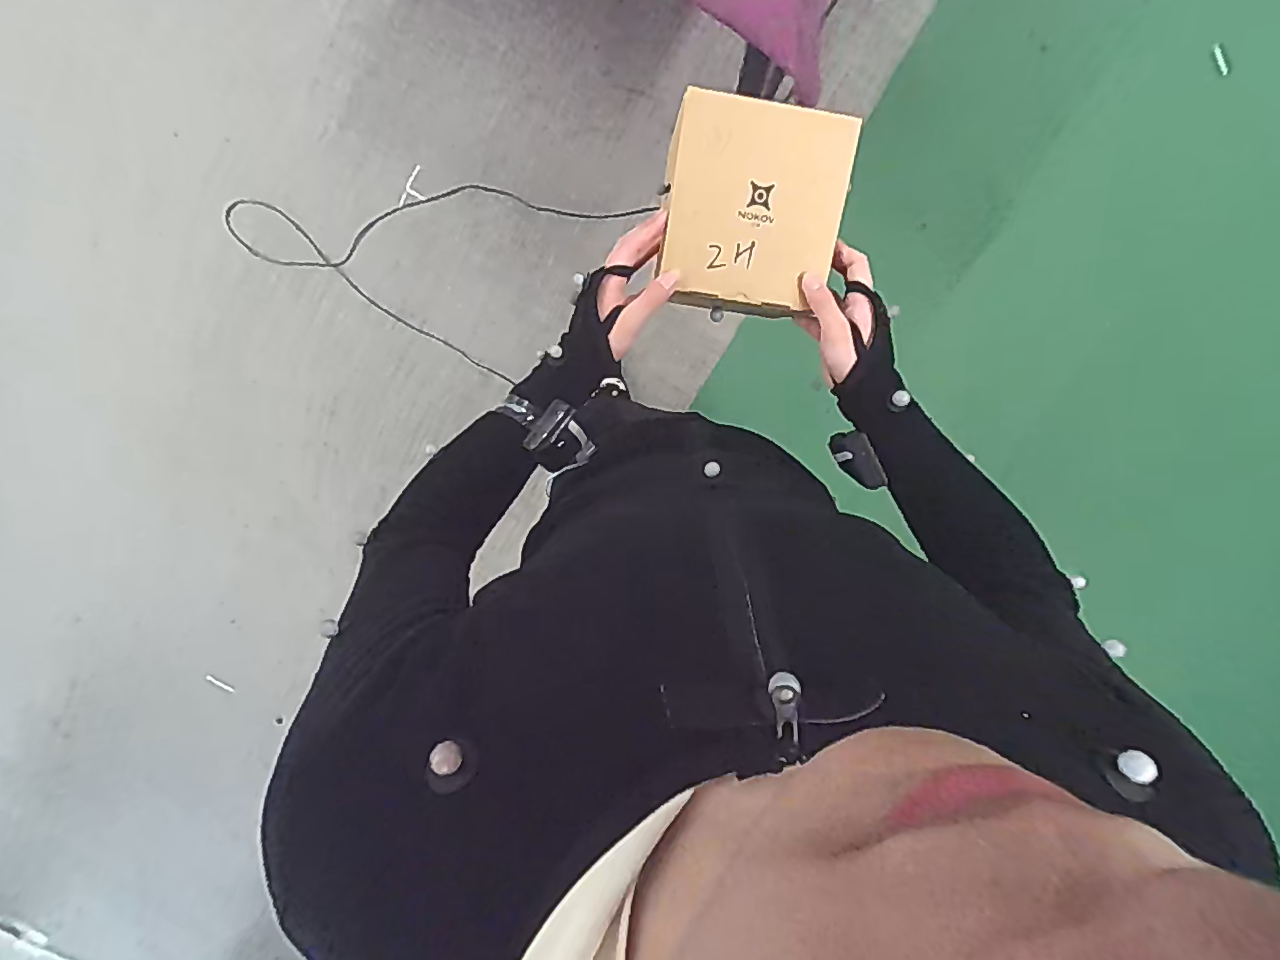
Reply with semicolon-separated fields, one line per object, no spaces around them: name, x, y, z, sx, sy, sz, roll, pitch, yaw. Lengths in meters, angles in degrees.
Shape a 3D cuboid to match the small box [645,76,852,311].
small box;0.099;-0.287;0.585;0.168;0.176;0.179;8;105;-4
